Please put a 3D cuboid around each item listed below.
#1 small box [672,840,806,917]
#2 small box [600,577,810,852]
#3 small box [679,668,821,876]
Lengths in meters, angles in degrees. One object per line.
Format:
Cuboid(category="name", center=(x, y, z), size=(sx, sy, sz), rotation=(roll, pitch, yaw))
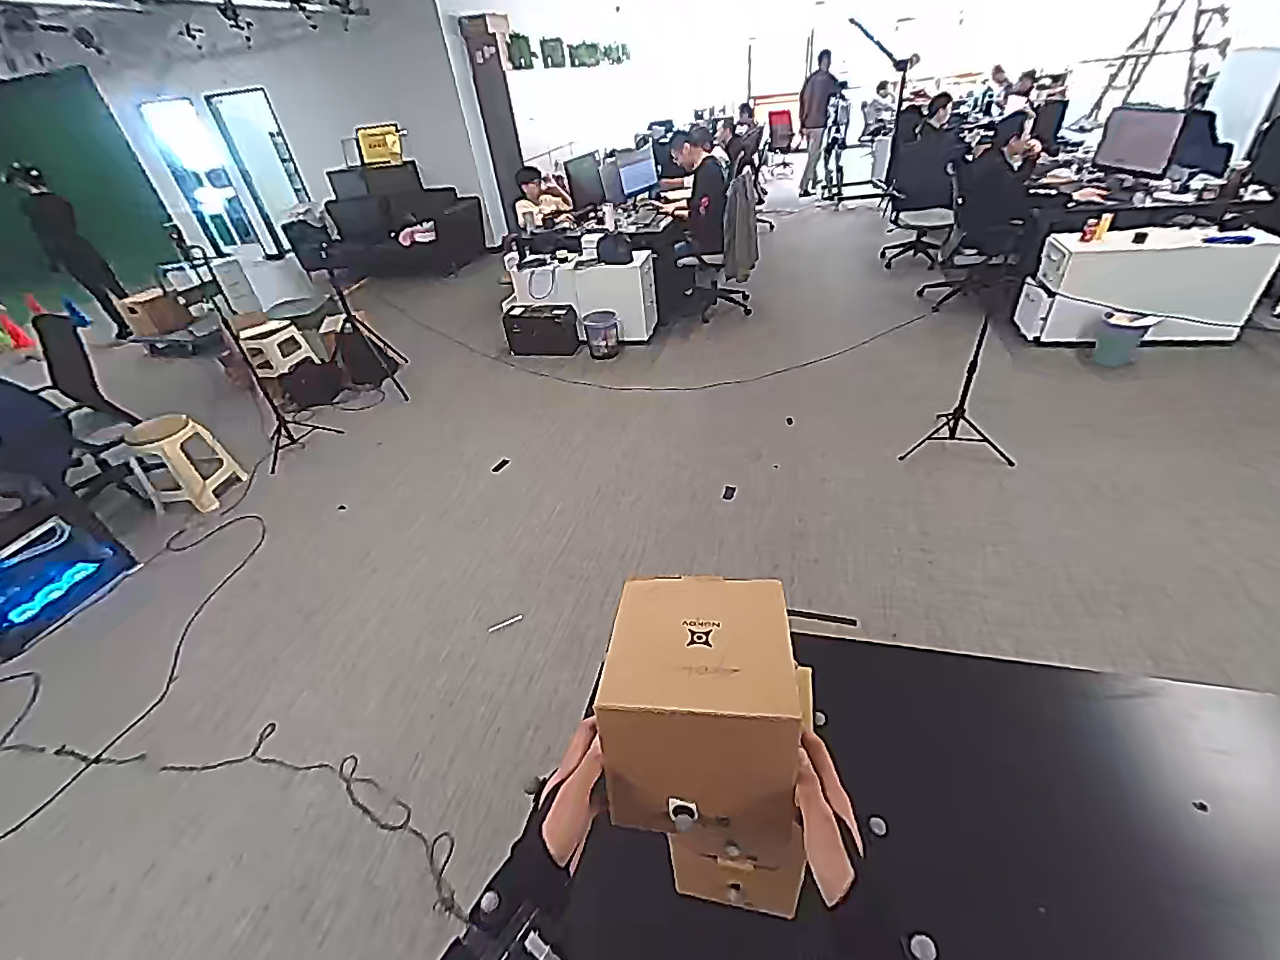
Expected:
Cuboid(category="small box", center=(0.146, 0.480, 0.767), size=(0.168, 0.176, 0.179), rotation=(3, 38, 13))
Cuboid(category="small box", center=(0.064, 0.214, 0.524), size=(0.168, 0.176, 0.179), rotation=(-1, 26, 8))
Cuboid(category="small box", center=(0.130, 0.347, 0.671), size=(0.168, 0.176, 0.179), rotation=(3, 37, 14))
